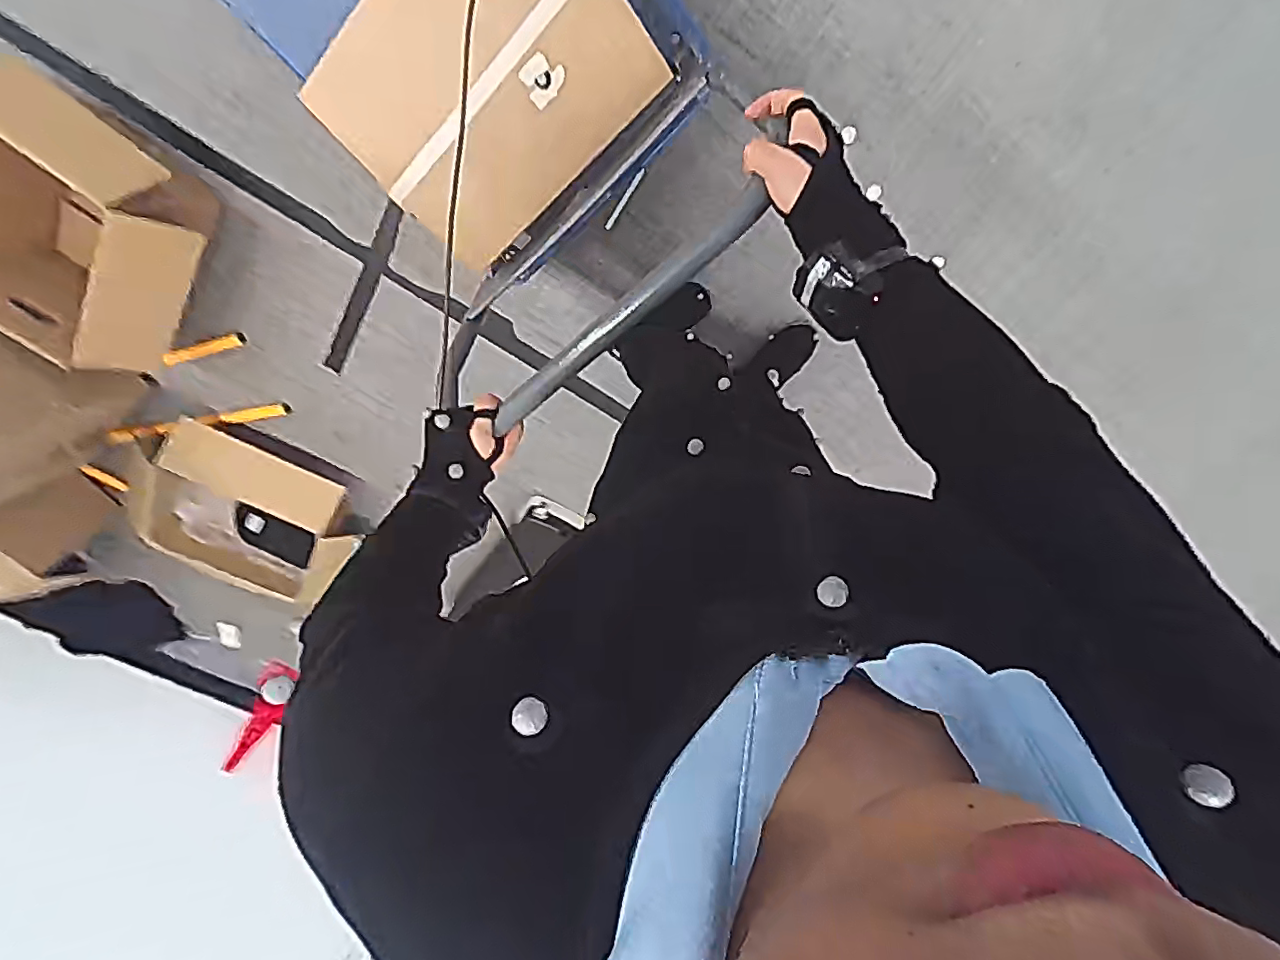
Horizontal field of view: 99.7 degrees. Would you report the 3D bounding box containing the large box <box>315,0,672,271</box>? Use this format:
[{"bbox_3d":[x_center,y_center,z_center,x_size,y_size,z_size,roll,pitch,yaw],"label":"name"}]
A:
[{"bbox_3d":[-0.202,-0.617,0.848,0.408,0.320,0.320,-35,121,22],"label":"large box"}]
